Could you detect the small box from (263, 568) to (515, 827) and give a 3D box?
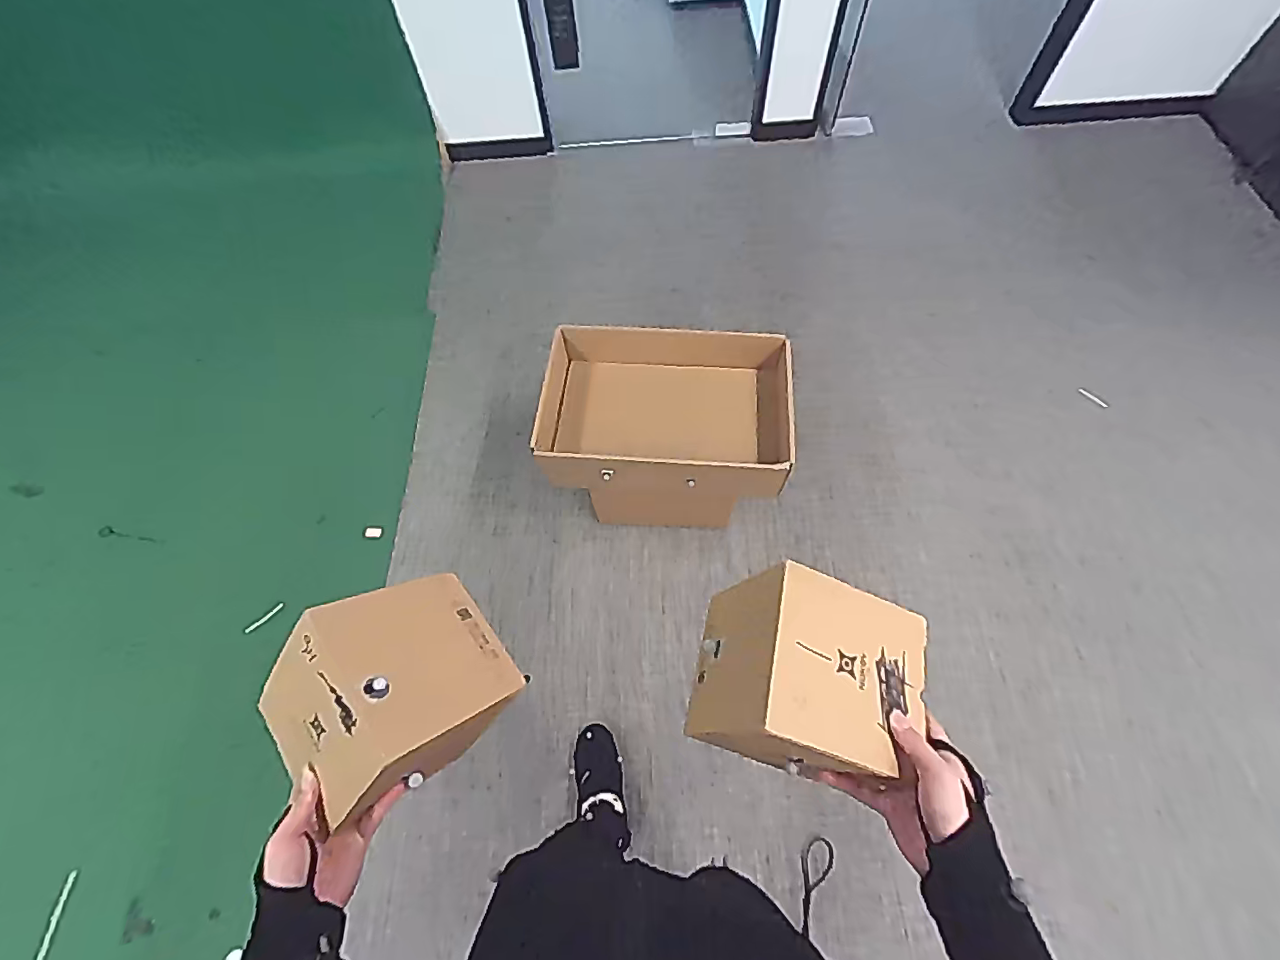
[{"bbox_3d":[-0.269,0.222,0.588,0.168,0.176,0.179,50,118,20],"label":"small box"}]

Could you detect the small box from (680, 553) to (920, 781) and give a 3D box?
[{"bbox_3d":[0.168,0.205,0.582,0.179,0.176,0.168,24,58,-9],"label":"small box"}]
